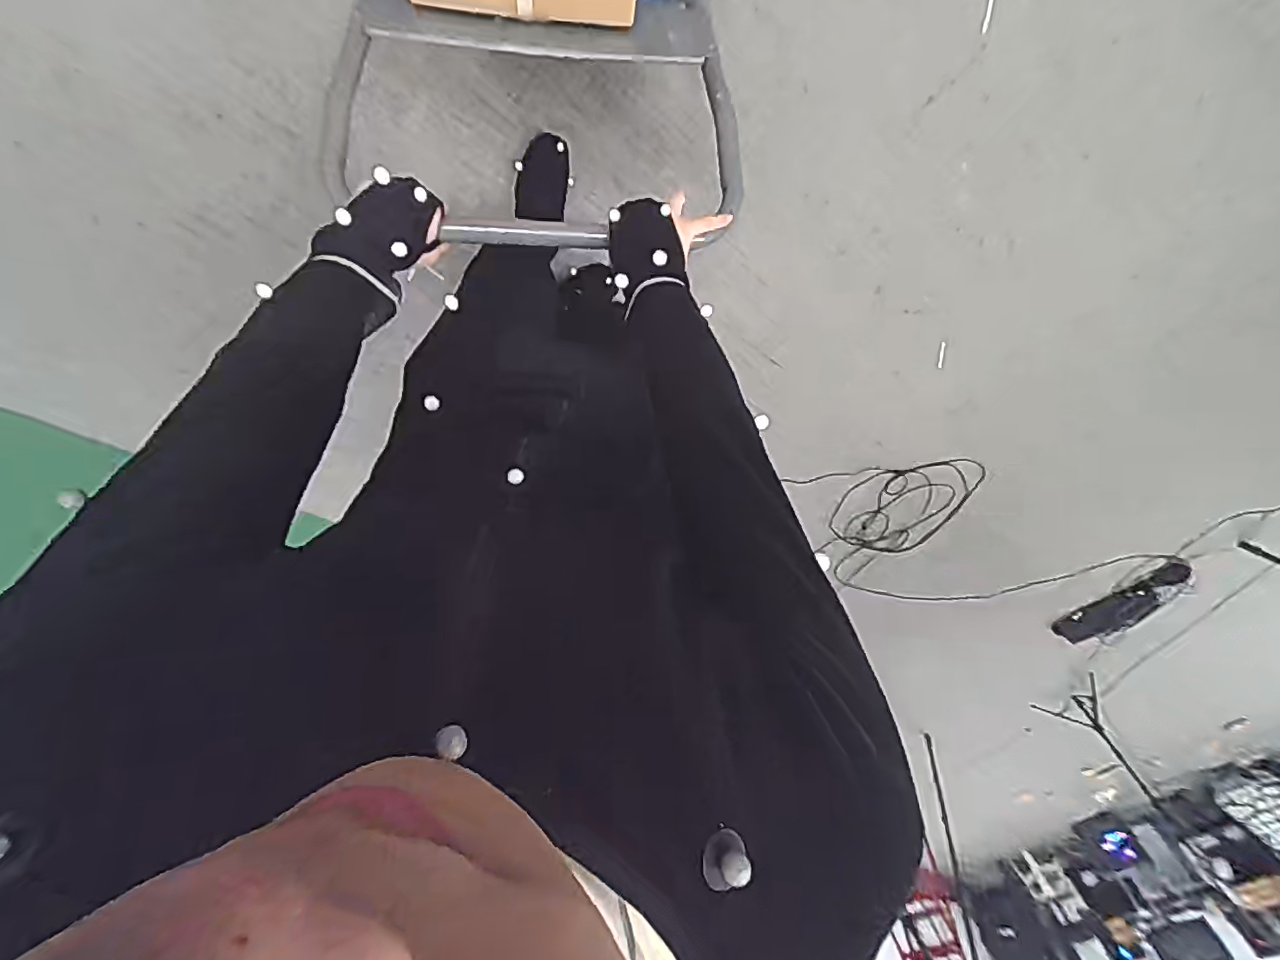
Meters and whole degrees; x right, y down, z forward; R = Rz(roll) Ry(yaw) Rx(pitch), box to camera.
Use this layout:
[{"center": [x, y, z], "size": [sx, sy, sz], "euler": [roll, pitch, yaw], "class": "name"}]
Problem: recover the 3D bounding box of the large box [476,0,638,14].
[{"center": [-0.147, -0.908, 0.686], "size": [0.320, 0.320, 0.408], "euler": [0, 148, -8], "class": "large box"}]
